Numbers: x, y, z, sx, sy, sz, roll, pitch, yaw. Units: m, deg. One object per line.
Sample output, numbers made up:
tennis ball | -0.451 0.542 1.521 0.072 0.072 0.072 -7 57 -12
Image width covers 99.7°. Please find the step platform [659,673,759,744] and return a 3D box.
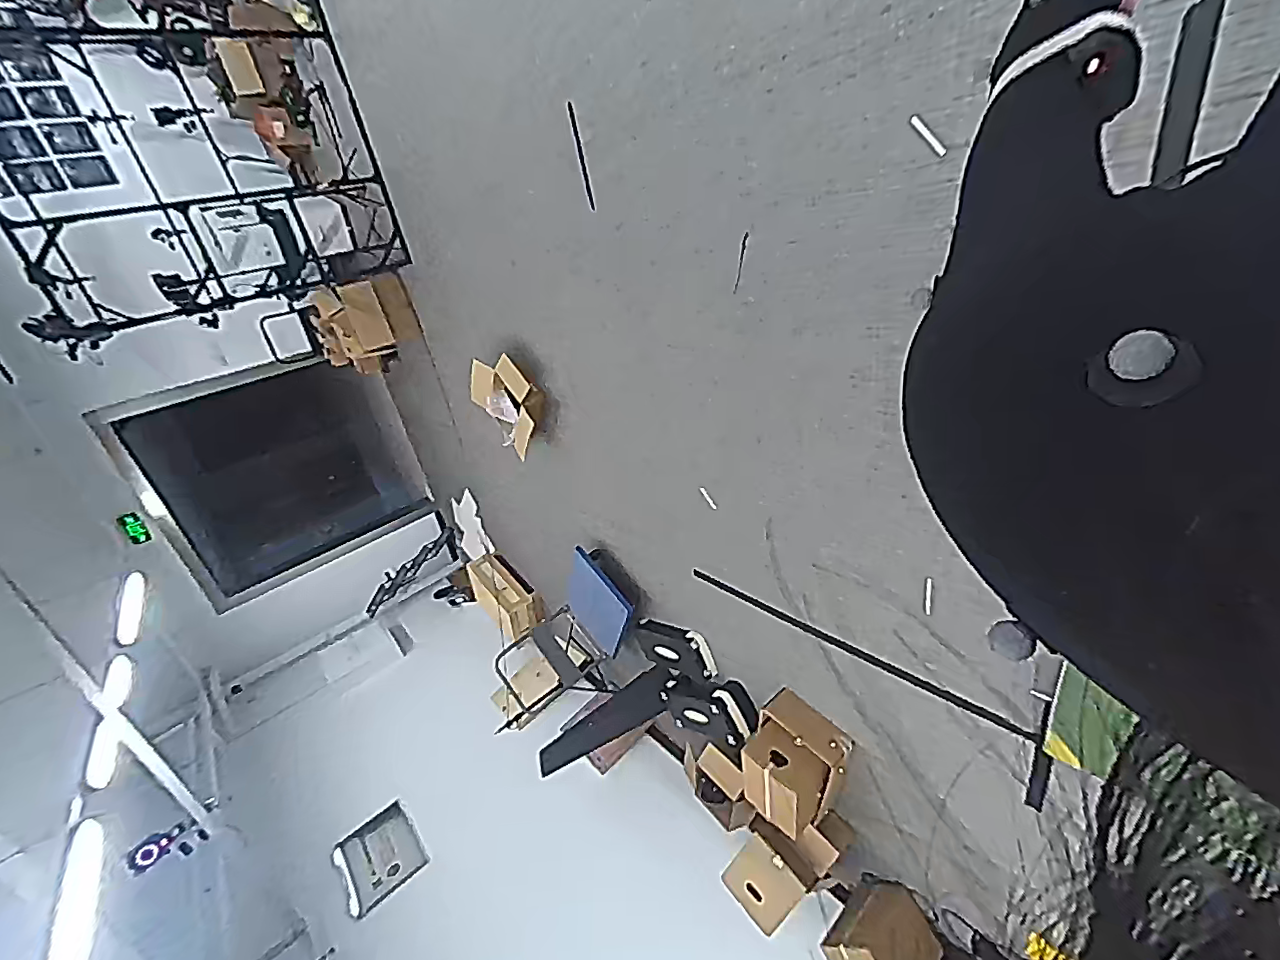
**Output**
step platform | 0.388 1.358 3.244 0.286 0.204 0.684 62 148 -1
